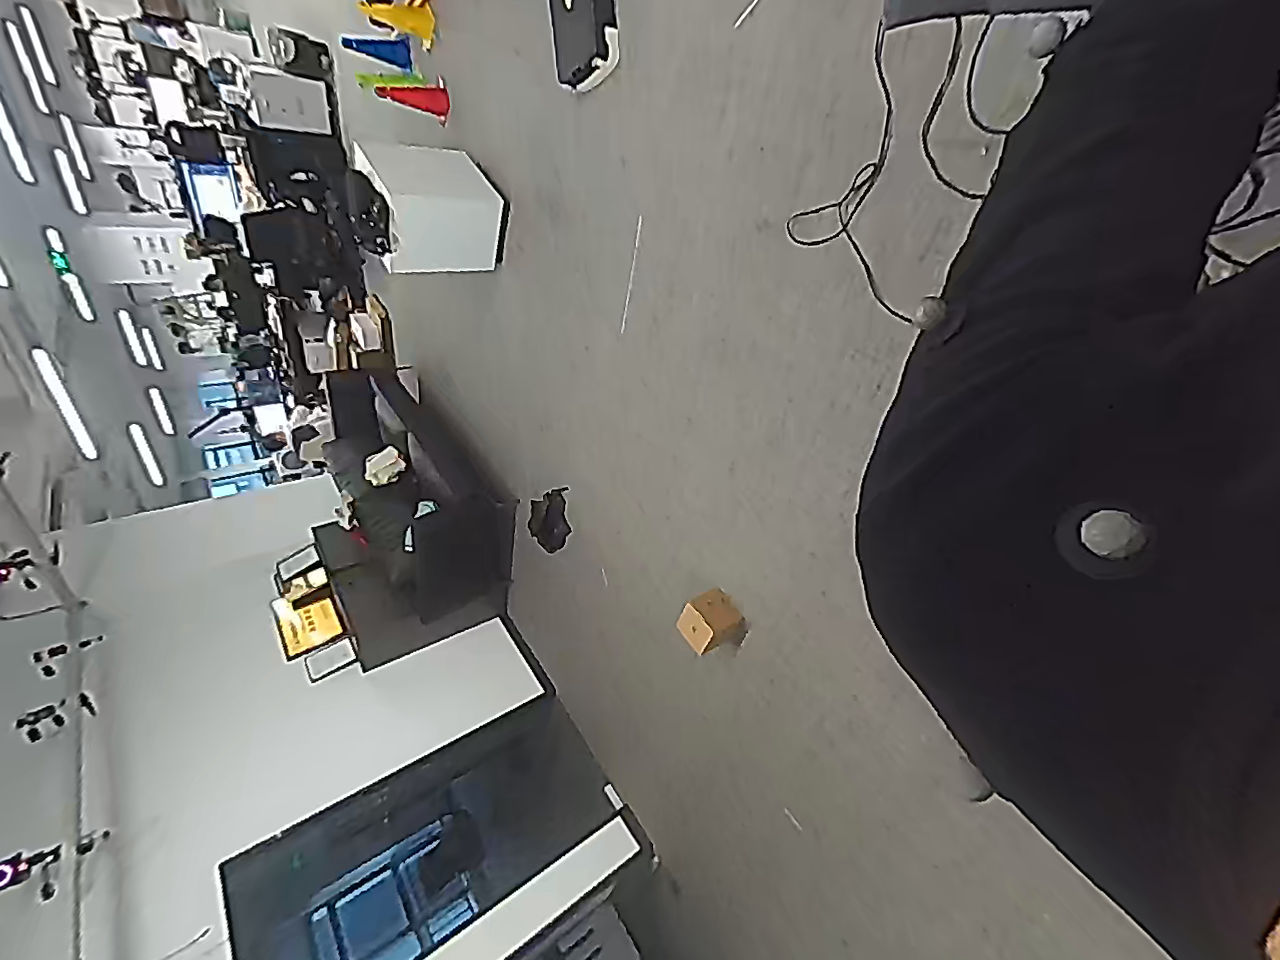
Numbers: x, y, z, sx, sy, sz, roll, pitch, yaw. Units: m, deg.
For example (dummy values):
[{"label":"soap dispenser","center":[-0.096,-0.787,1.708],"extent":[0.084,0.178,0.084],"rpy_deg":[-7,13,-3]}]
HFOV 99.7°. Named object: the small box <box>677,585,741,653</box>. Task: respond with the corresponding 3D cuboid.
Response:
[{"label":"small box","center":[0.280,0.554,2.173],"extent":[0.168,0.176,0.179],"rpy_deg":[49,140,32]}]
